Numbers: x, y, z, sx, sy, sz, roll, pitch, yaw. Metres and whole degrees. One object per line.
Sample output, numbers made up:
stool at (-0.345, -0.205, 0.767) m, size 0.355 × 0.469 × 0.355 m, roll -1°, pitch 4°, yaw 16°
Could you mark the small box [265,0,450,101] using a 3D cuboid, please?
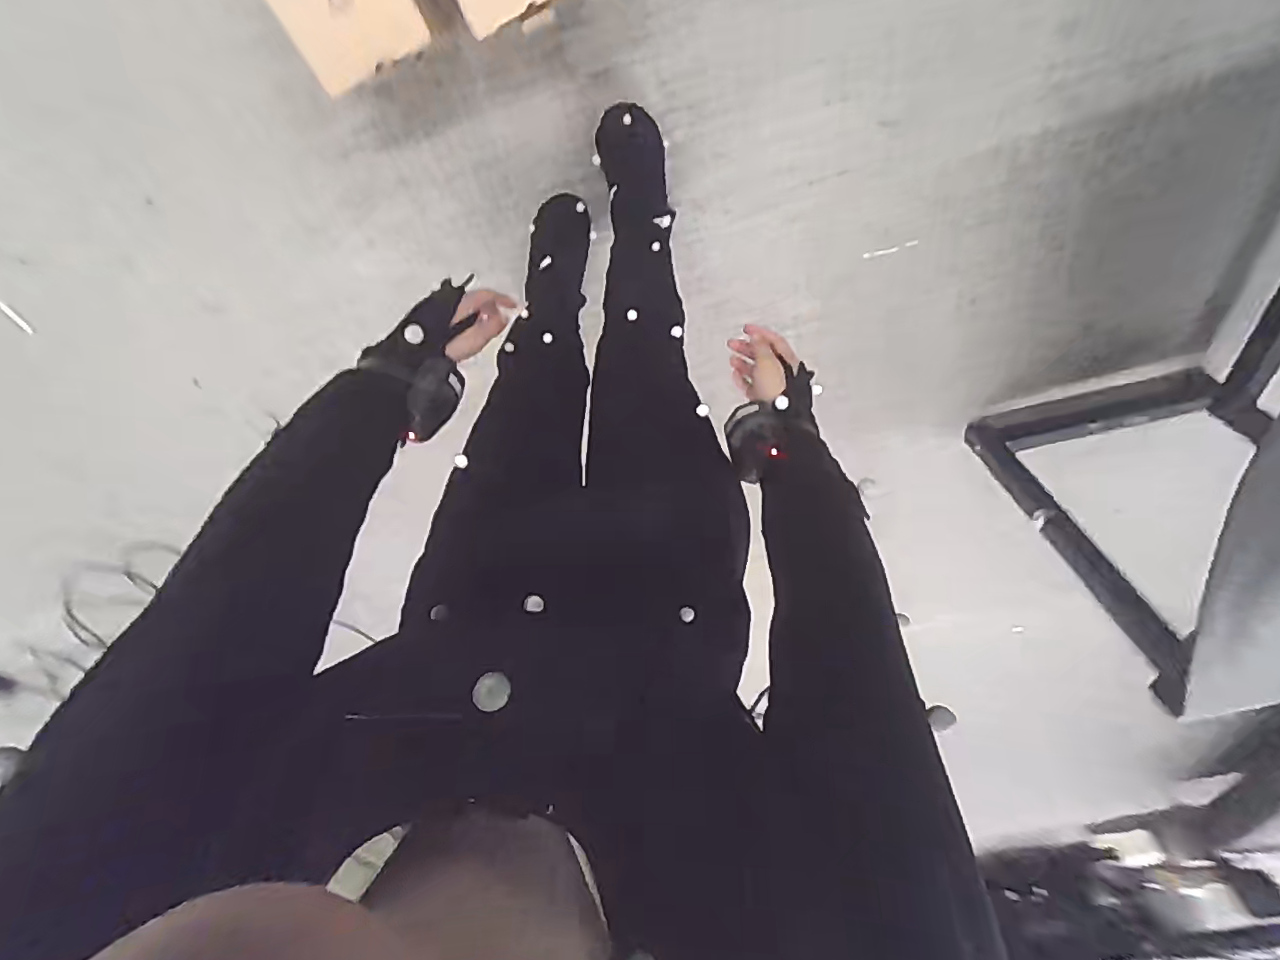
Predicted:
small box at (-0.382, -0.653, 0.725) m, size 0.168 × 0.176 × 0.179 m, roll -21°, pitch 130°, yaw 12°
